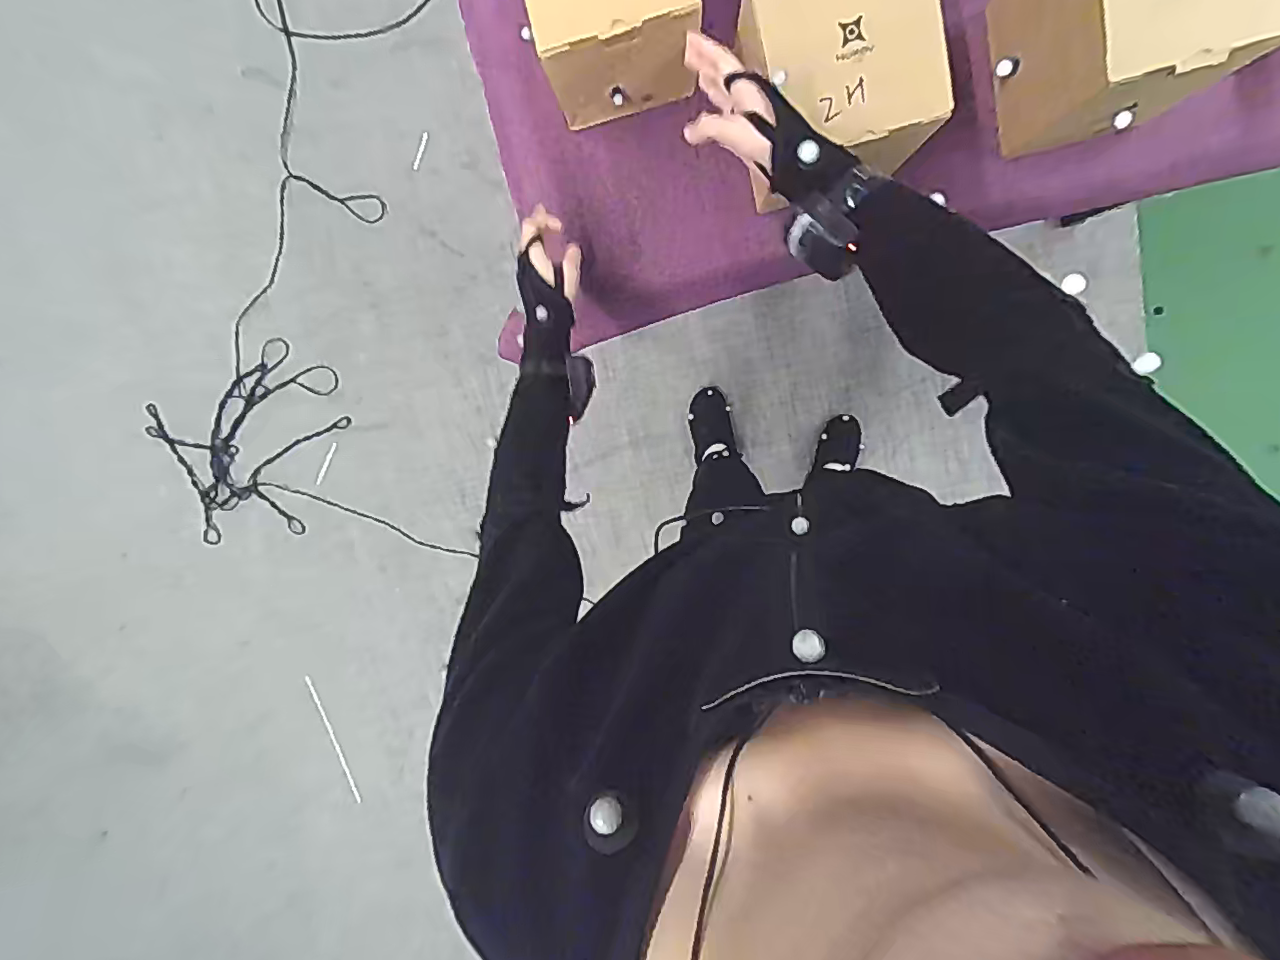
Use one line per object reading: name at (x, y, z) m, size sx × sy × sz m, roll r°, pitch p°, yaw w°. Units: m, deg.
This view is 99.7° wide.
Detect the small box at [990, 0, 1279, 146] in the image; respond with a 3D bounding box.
small box at (0.496, -0.475, 0.556) m, size 0.168 × 0.176 × 0.179 m, roll -12°, pitch 99°, yaw 5°

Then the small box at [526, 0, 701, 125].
small box at (-0.036, -0.530, 0.583) m, size 0.168 × 0.176 × 0.179 m, roll -13°, pitch 100°, yaw 6°

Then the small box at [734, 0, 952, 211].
small box at (0.203, -0.424, 0.585) m, size 0.168 × 0.176 × 0.179 m, roll -12°, pitch 99°, yaw 7°
